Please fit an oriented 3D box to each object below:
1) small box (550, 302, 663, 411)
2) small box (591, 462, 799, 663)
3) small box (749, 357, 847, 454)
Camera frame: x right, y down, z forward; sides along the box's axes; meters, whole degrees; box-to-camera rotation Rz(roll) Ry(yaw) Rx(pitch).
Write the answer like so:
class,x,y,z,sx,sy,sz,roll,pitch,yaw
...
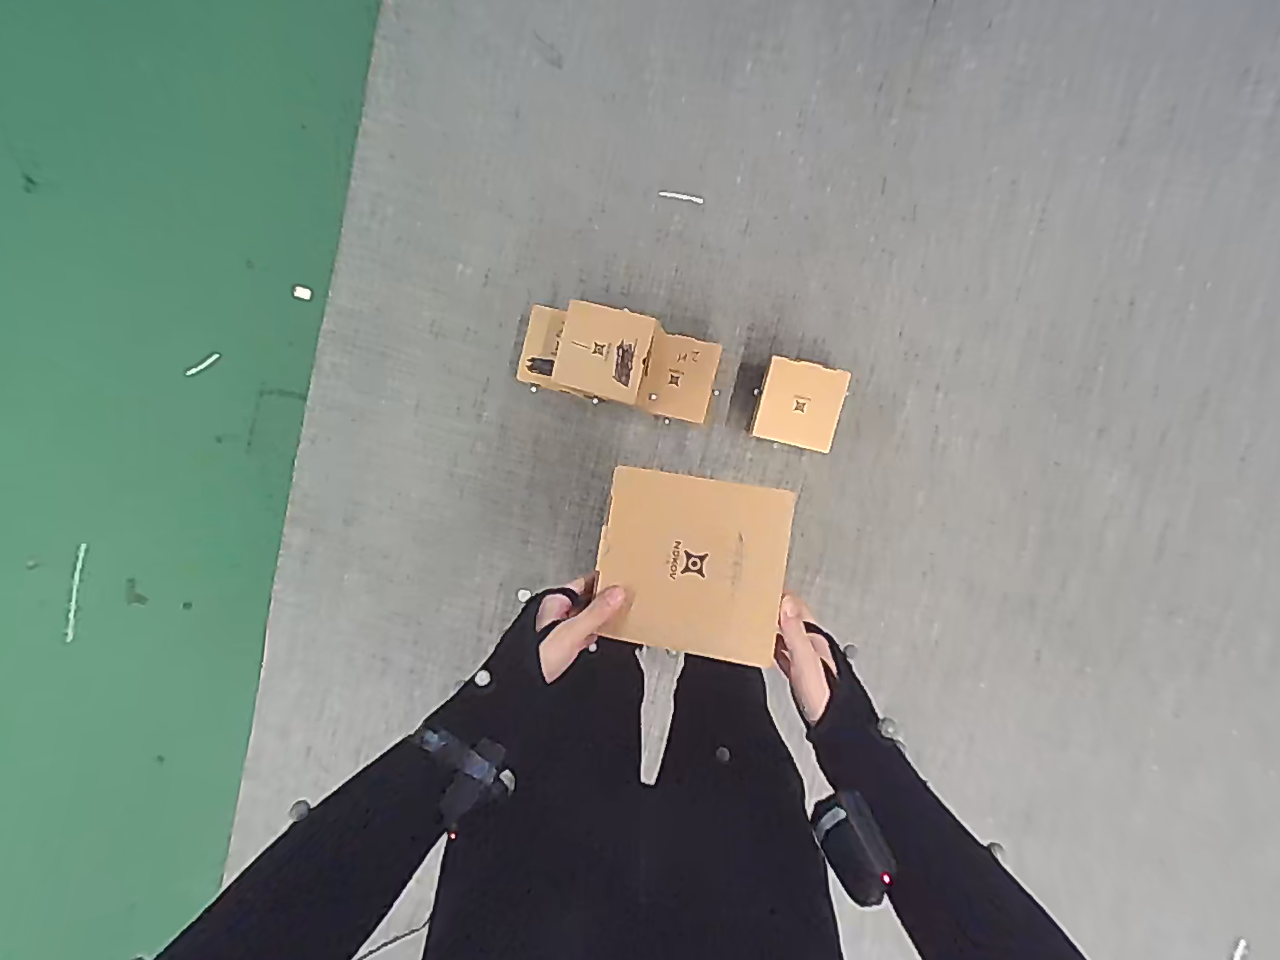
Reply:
class,x,y,z,sx,sy,sz,roll,pitch,yaw
small box,-0.059,-0.241,1.100,0.179,0.176,0.168,16,95,8
small box,0.060,0.085,0.593,0.179,0.176,0.168,10,85,7
small box,0.345,-0.160,1.212,0.168,0.176,0.179,14,95,8
